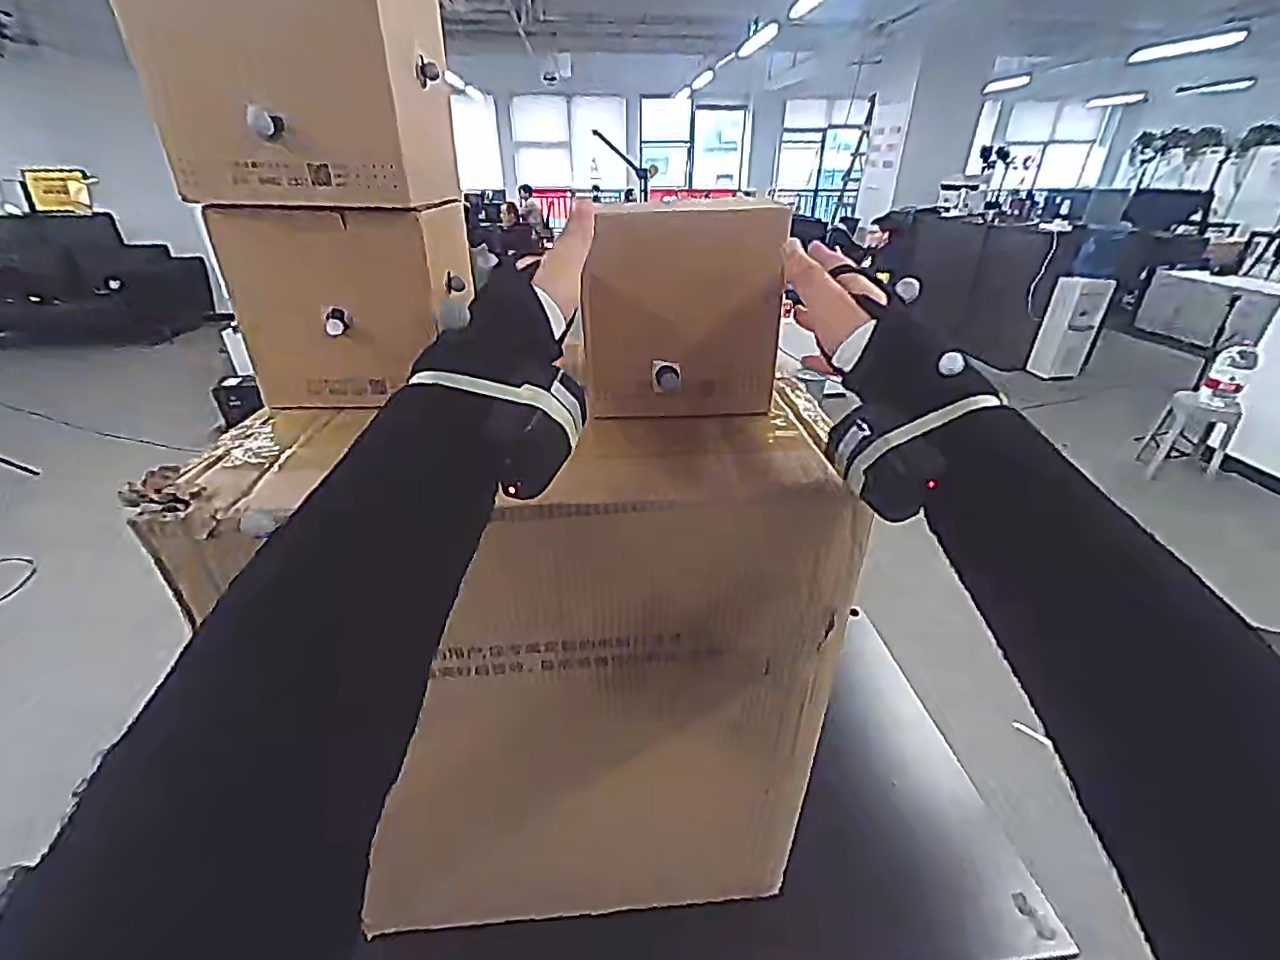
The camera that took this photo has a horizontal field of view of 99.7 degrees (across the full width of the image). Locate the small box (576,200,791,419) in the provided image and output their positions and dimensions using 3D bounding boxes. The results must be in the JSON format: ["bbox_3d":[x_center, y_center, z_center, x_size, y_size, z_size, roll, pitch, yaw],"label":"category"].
[{"bbox_3d":[0.032,-0.168,0.517,0.168,0.176,0.179,-3,30,-1],"label":"small box"}]

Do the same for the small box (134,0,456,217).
[{"bbox_3d":[-0.255,-0.315,0.437,0.168,0.176,0.179,-1,30,-4],"label":"small box"}]

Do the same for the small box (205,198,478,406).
[{"bbox_3d":[-0.263,-0.179,0.533,0.168,0.176,0.179,-1,30,-5],"label":"small box"}]
